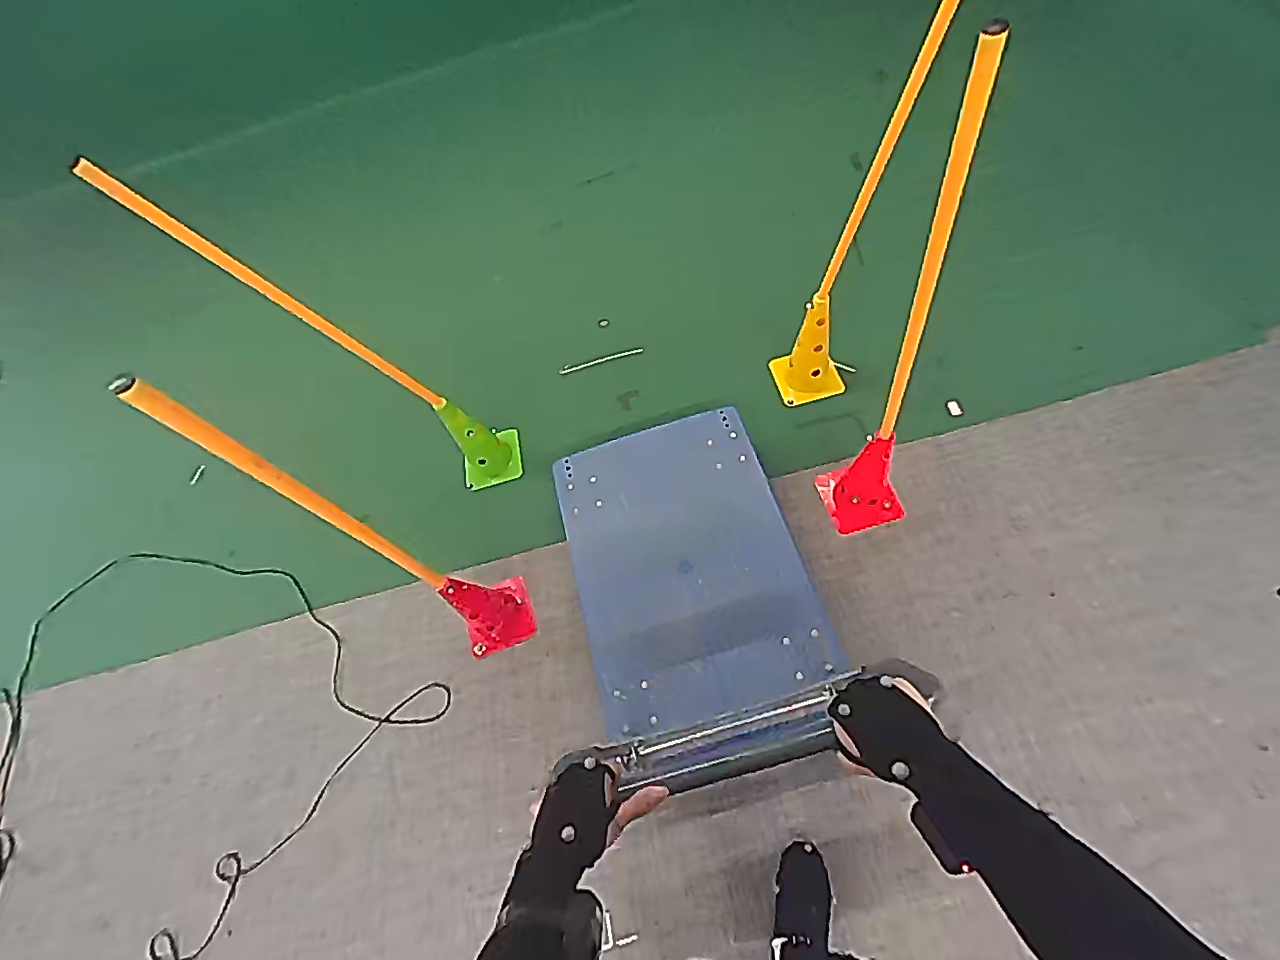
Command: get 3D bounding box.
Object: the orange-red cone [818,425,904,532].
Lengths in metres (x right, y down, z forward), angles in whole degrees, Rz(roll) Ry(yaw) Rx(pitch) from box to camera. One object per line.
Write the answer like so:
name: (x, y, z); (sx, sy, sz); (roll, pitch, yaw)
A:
orange-red cone: (0.606, -0.034, 1.415); (0.198, 0.360, 0.199); (-15, 60, 2)

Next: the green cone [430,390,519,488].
green cone: (-0.544, -0.155, 1.696); (0.200, 0.368, 0.202); (-16, 61, 3)
